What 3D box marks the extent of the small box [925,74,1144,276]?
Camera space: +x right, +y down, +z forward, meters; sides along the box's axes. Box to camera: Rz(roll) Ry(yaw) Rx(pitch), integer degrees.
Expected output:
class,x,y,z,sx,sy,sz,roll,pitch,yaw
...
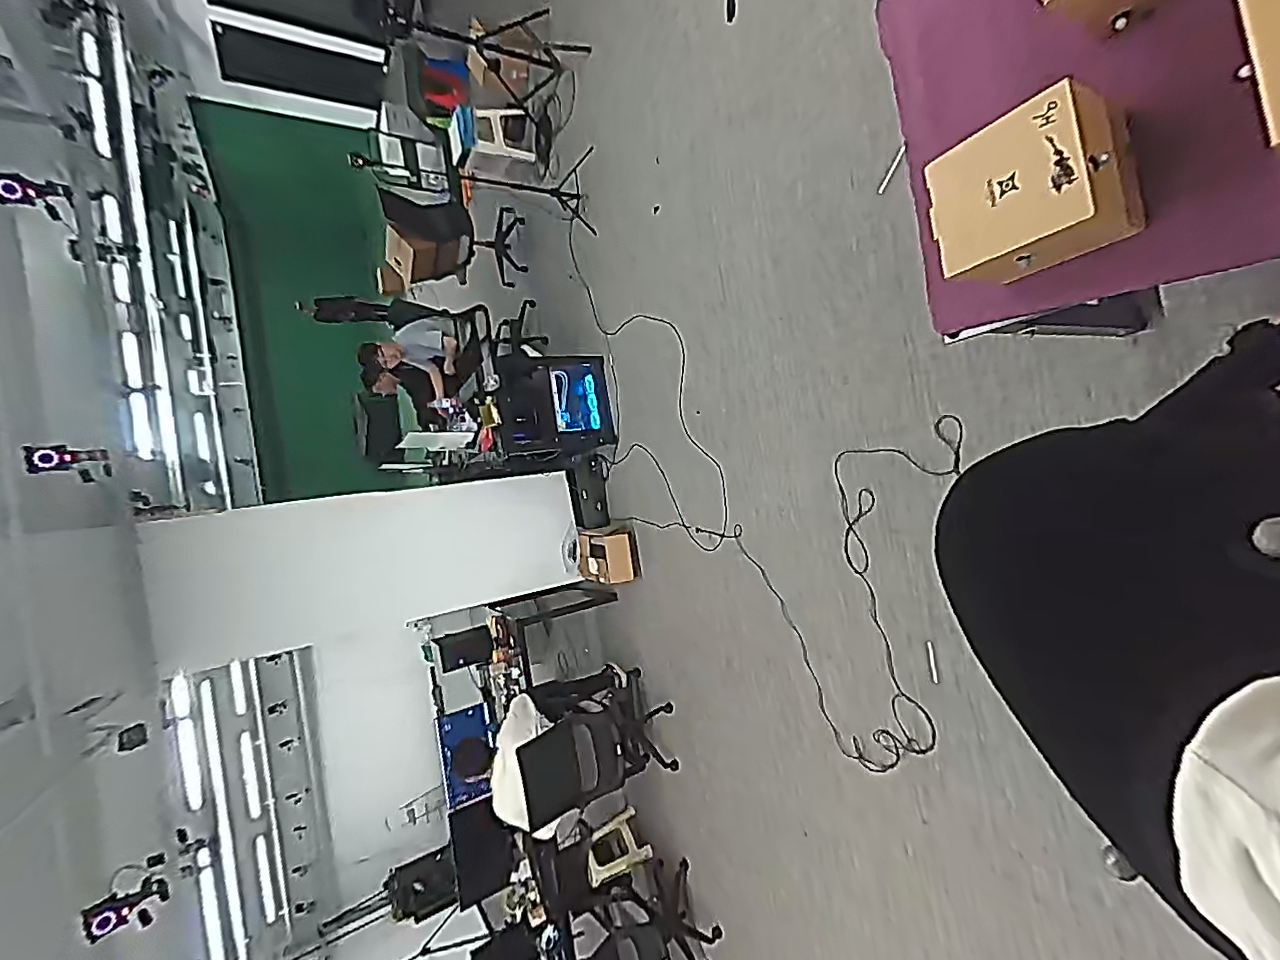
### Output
class,x,y,z,sx,sy,sz,roll,pitch,yaw
small box,0.526,-0.389,0.730,0.179,0.176,0.168,-11,89,60

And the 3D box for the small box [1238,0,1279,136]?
class,x,y,z,sx,sy,sz,roll,pitch,yaw
small box,0.677,-0.422,0.478,0.168,0.176,0.179,-13,88,60

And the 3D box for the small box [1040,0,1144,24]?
class,x,y,z,sx,sy,sz,roll,pitch,yaw
small box,0.561,-0.665,0.606,0.168,0.176,0.179,-13,86,59
